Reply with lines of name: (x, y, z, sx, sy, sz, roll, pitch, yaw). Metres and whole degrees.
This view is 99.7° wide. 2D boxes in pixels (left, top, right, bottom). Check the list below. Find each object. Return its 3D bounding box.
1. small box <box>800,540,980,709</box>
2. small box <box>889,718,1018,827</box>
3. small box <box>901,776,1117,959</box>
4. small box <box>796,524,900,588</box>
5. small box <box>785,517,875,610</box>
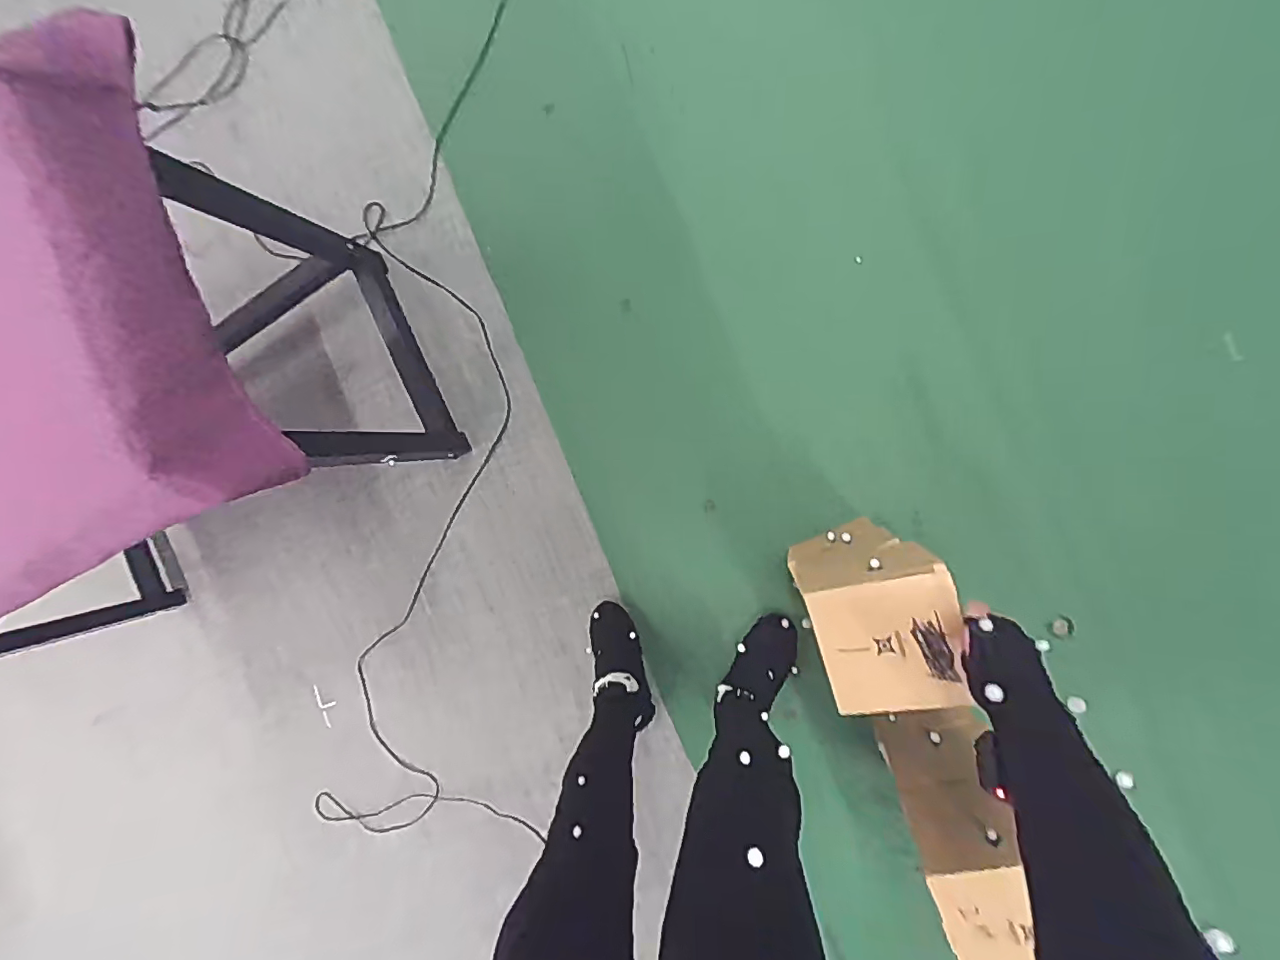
small box: (0.332, 0.191, 0.756, 0.179, 0.176, 0.168, -16, 89, 15)
small box: (0.529, 0.525, 0.894, 0.179, 0.176, 0.168, -22, 89, 18)
small box: (0.484, 0.535, 0.735, 0.179, 0.176, 0.168, -21, 88, 17)
small box: (0.376, 0.191, 0.913, 0.168, 0.176, 0.179, -25, 86, 14)
small box: (0.404, 0.185, 1.074, 0.179, 0.176, 0.168, -26, 87, 15)
